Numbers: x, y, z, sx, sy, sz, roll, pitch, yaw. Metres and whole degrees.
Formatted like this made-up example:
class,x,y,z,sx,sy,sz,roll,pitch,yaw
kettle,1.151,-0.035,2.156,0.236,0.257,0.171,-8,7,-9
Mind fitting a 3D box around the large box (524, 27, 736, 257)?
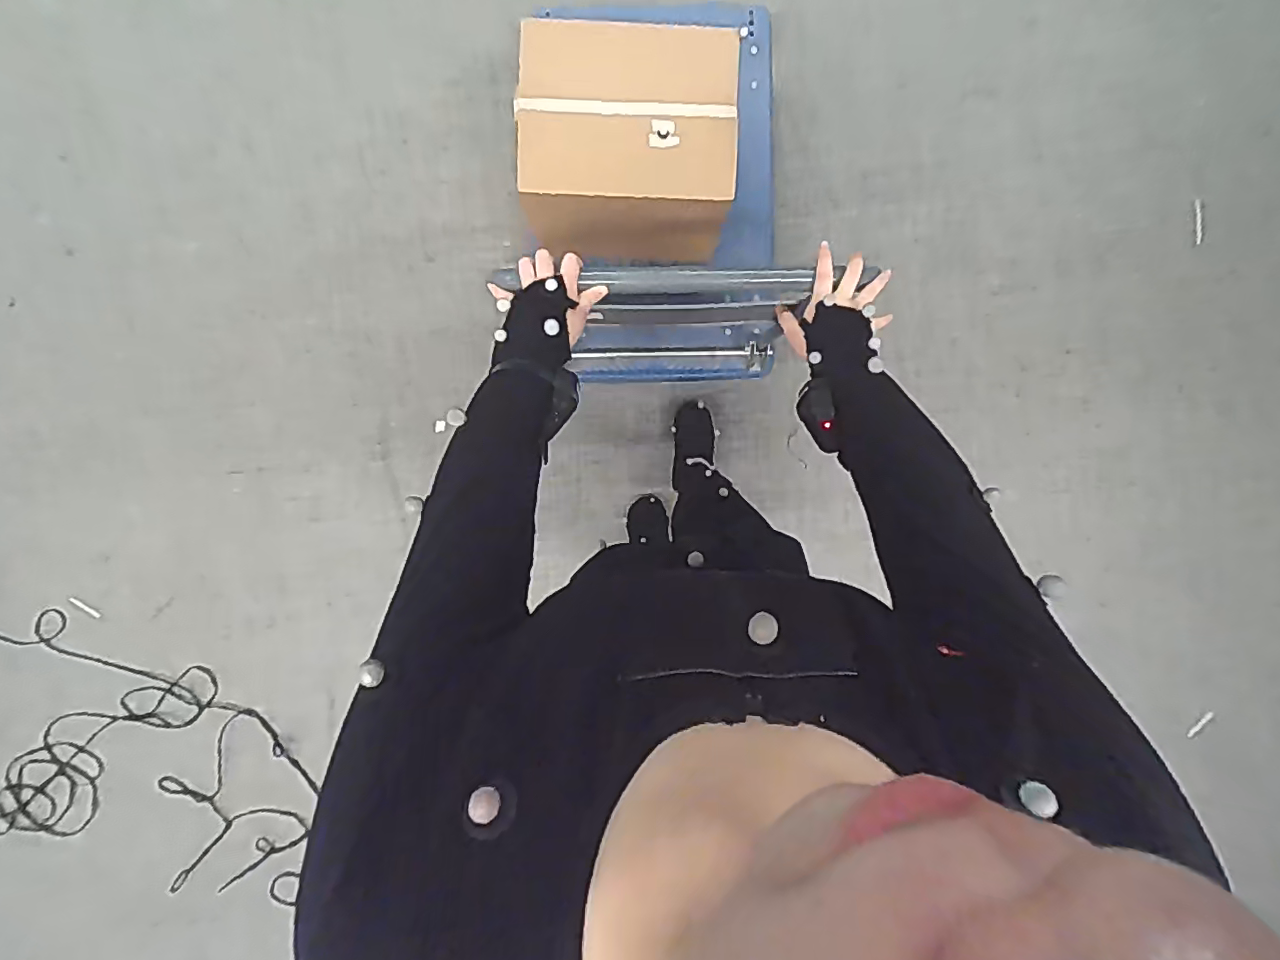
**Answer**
class,x,y,z,sx,sy,sz,roll,pitch,yaw
large box,-0.025,-0.691,1.161,0.408,0.320,0.320,1,92,-2
